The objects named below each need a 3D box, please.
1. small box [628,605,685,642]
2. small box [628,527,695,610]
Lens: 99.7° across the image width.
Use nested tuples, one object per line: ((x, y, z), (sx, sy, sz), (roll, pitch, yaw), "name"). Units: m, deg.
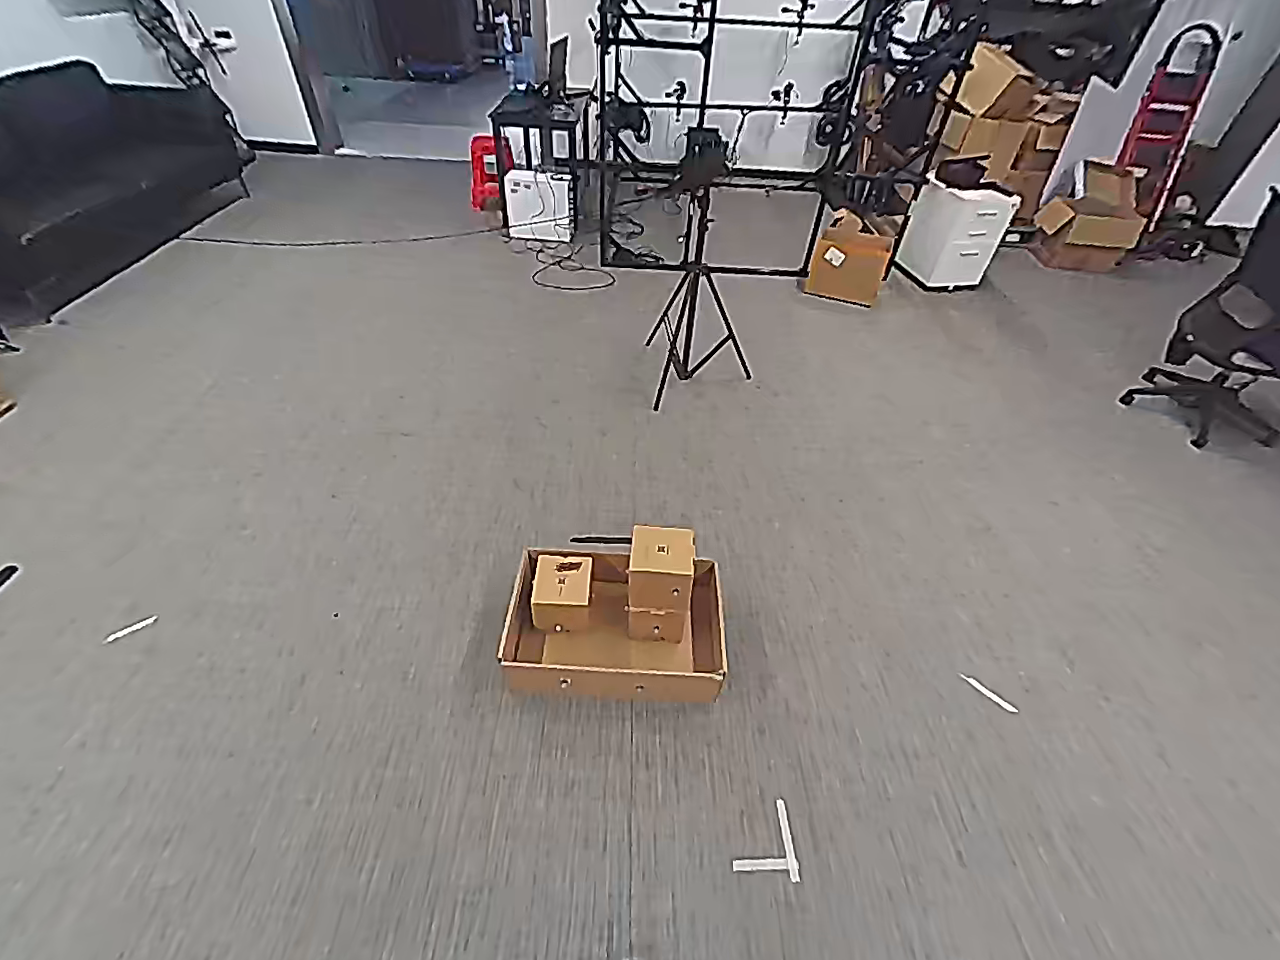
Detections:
((0.050, 0.377, 1.649), (0.168, 0.176, 0.179), (3, 45, 0), "small box")
((0.060, 0.256, 1.540), (0.179, 0.176, 0.168), (3, 42, 2), "small box")
